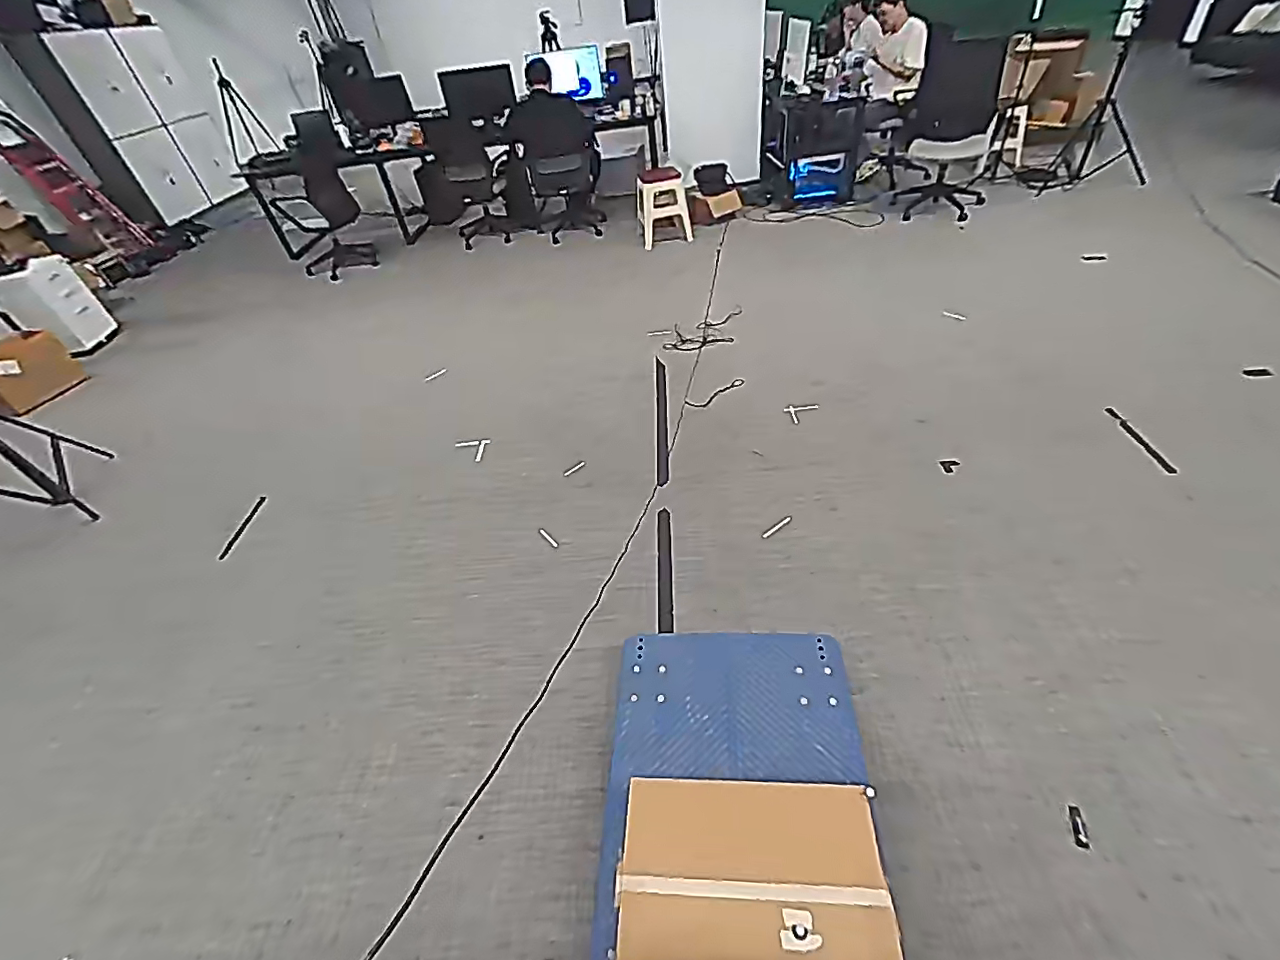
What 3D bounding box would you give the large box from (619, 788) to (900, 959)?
[{"bbox_3d":[0.186,0.750,0.916,0.408,0.320,0.320,-2,42,8],"label":"large box"}]
